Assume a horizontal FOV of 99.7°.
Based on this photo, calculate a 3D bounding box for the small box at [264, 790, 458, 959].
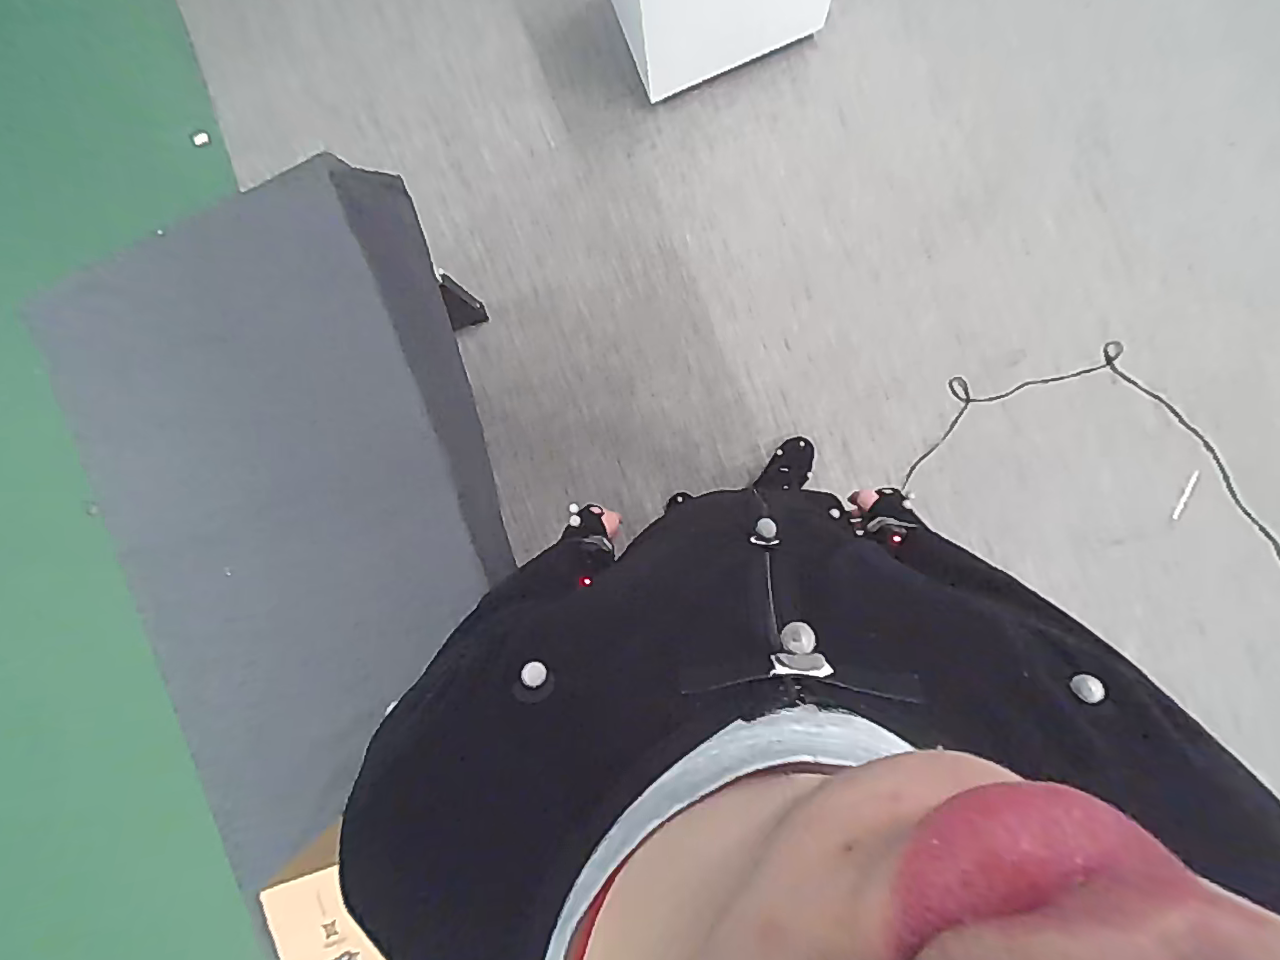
[{"bbox_3d":[-0.400,0.610,0.808,0.168,0.176,0.179,-22,88,5],"label":"small box"}]
